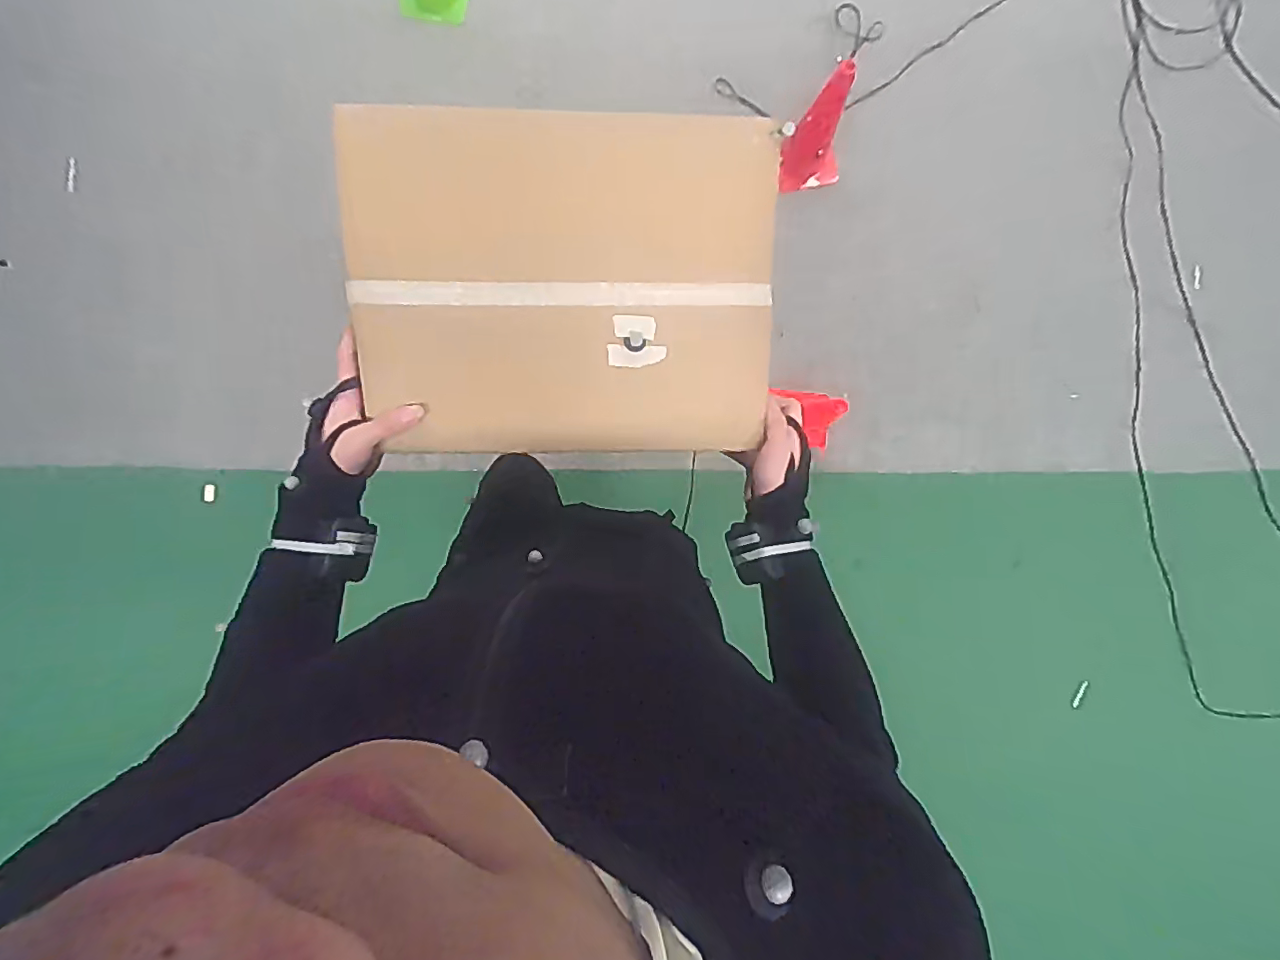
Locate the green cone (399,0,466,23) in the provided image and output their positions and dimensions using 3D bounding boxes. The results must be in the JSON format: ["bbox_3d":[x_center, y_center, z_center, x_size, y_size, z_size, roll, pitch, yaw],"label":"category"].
[{"bbox_3d":[-0.621,-1.500,1.471,0.200,0.368,0.202,7,90,-1],"label":"green cone"}]

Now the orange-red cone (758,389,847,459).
[{"bbox_3d":[0.476,-0.171,1.478,0.199,0.360,0.198,8,90,-3],"label":"orange-red cone"}]

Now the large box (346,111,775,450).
[{"bbox_3d":[-0.080,-0.219,0.677,0.408,0.320,0.320,-1,104,-5],"label":"large box"}]
